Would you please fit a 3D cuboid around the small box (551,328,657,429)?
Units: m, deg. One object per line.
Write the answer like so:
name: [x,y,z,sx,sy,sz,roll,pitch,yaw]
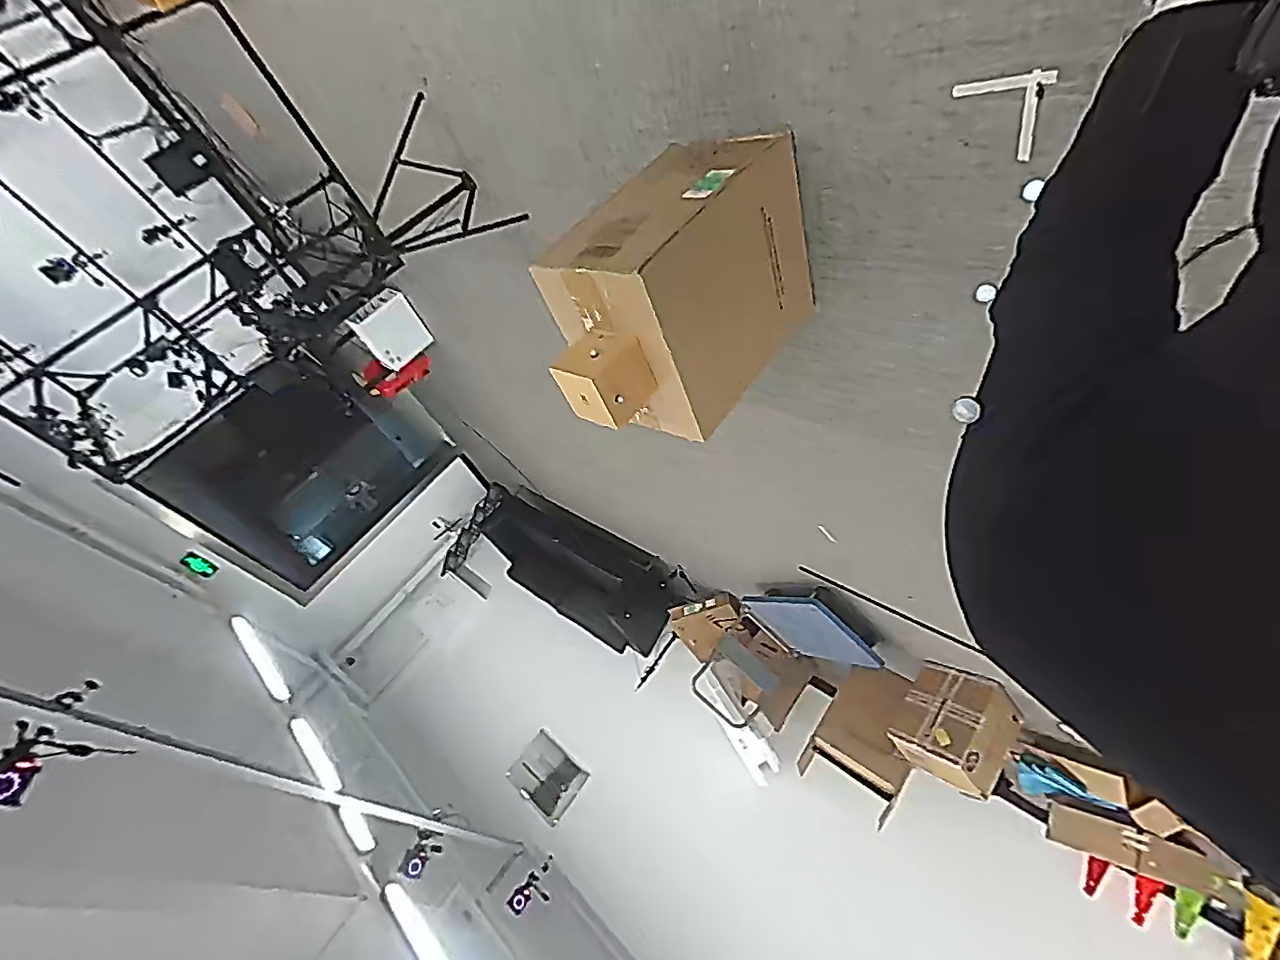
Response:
small box: [-0.086,-0.261,1.367,0.168,0.176,0.179,22,154,39]
